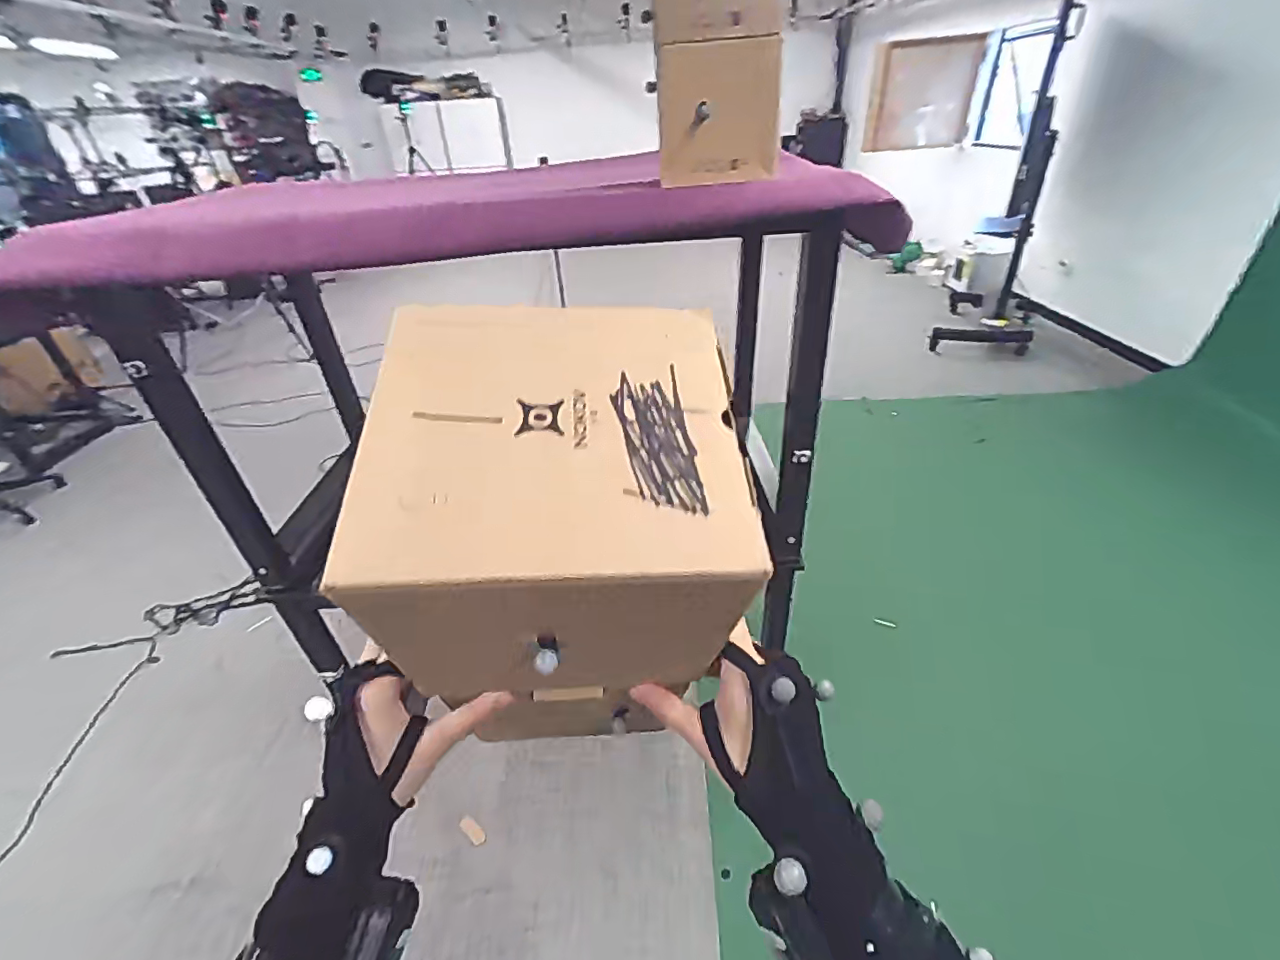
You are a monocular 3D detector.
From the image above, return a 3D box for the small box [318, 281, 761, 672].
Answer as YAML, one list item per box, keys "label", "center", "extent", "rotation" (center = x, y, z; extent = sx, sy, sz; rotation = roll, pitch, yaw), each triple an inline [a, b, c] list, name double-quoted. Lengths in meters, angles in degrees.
- label: "small box"
  center: [-0.048, 0.007, 0.322]
  extent: [0.179, 0.176, 0.168]
  rotation: [-1, 54, -7]

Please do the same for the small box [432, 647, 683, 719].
- label: "small box"
  center: [-0.061, 0.096, 0.458]
  extent: [0.168, 0.176, 0.179]
  rotation: [0, 54, -6]

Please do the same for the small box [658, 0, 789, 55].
- label: "small box"
  center: [0.105, -0.676, 0.718]
  extent: [0.168, 0.176, 0.179]
  rotation: [-3, 34, 3]

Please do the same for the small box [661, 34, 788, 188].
- label: "small box"
  center: [0.118, -0.540, 0.808]
  extent: [0.168, 0.176, 0.179]
  rotation: [-3, 33, 3]
